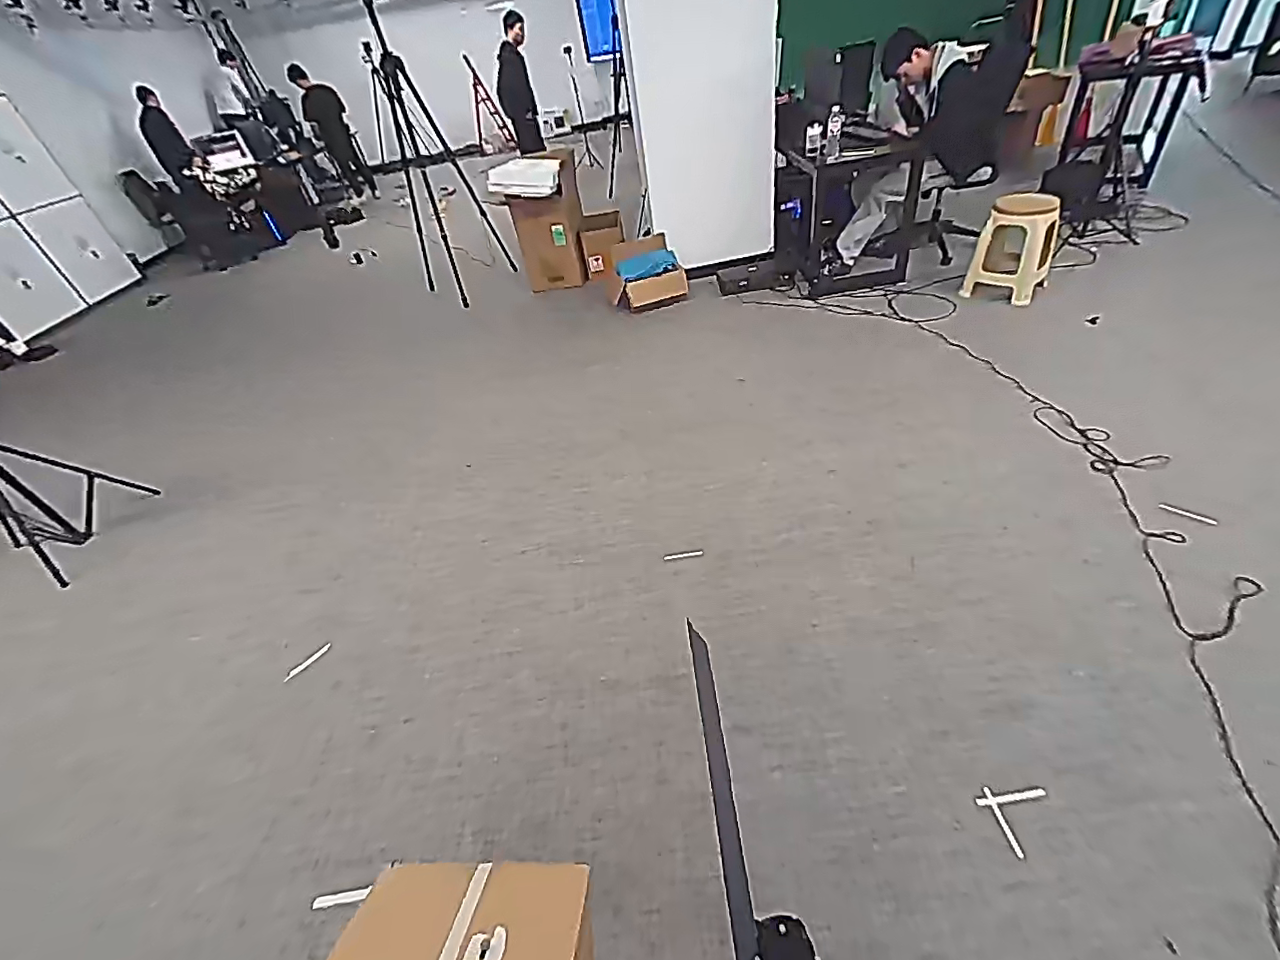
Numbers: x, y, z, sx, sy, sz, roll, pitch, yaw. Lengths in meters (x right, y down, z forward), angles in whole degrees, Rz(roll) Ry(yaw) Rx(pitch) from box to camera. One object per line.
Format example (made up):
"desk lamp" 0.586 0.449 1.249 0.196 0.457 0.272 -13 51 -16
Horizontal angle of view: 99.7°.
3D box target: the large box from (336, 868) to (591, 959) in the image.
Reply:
"large box" -0.235 0.763 0.636 0.320 0.320 0.408 -1 5 4
